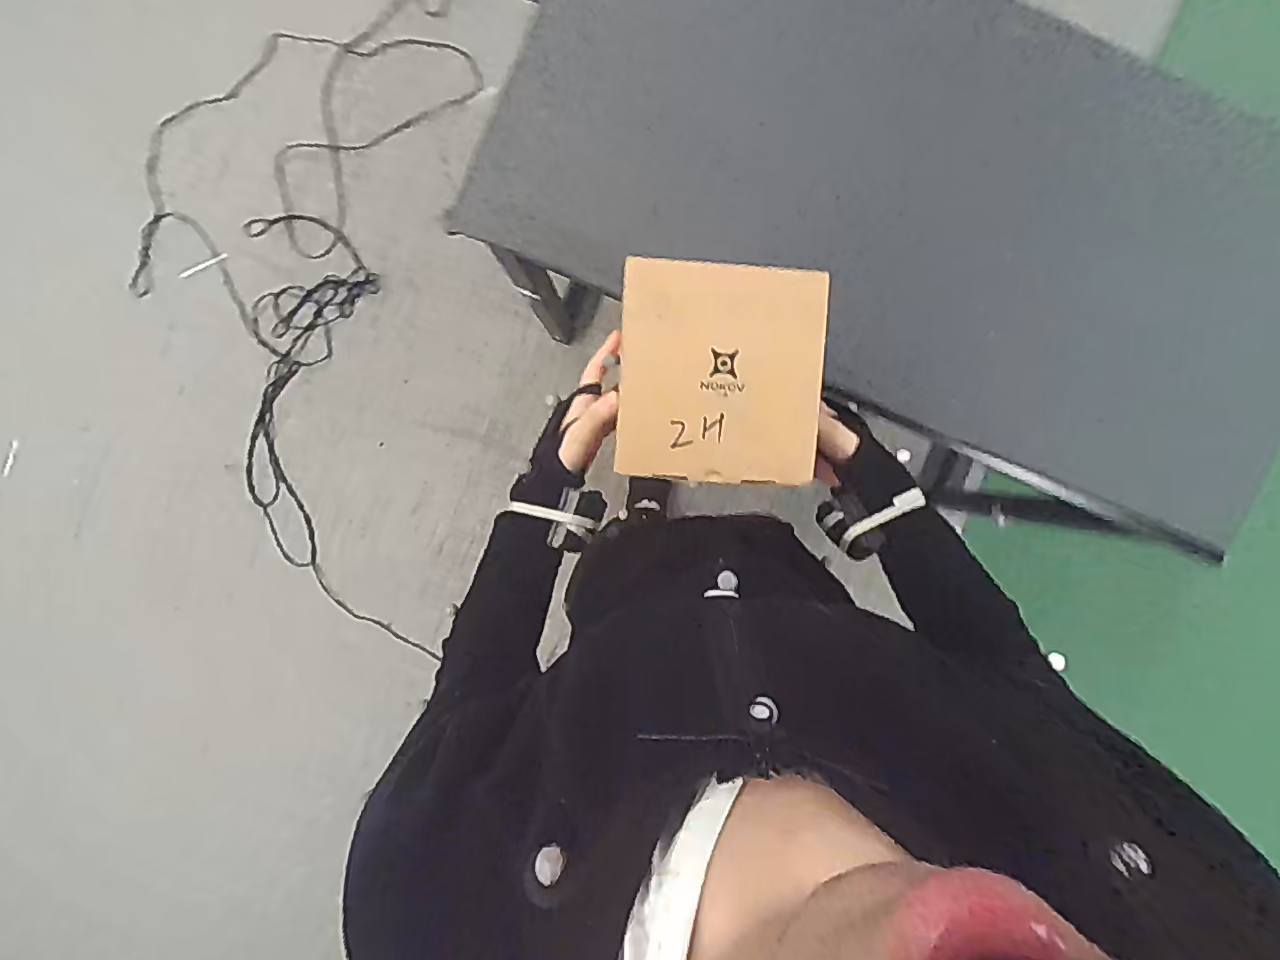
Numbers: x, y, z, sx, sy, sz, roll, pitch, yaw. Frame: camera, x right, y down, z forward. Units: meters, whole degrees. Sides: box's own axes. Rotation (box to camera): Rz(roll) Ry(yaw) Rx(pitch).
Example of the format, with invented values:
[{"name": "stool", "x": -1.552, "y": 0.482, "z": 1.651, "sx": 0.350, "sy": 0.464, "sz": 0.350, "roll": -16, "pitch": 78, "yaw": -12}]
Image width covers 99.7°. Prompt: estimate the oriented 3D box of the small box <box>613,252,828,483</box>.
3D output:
[{"name": "small box", "x": 0.062, "y": -0.094, "z": 0.519, "sx": 0.168, "sy": 0.176, "sz": 0.179, "roll": 4, "pitch": 94, "yaw": -3}]
